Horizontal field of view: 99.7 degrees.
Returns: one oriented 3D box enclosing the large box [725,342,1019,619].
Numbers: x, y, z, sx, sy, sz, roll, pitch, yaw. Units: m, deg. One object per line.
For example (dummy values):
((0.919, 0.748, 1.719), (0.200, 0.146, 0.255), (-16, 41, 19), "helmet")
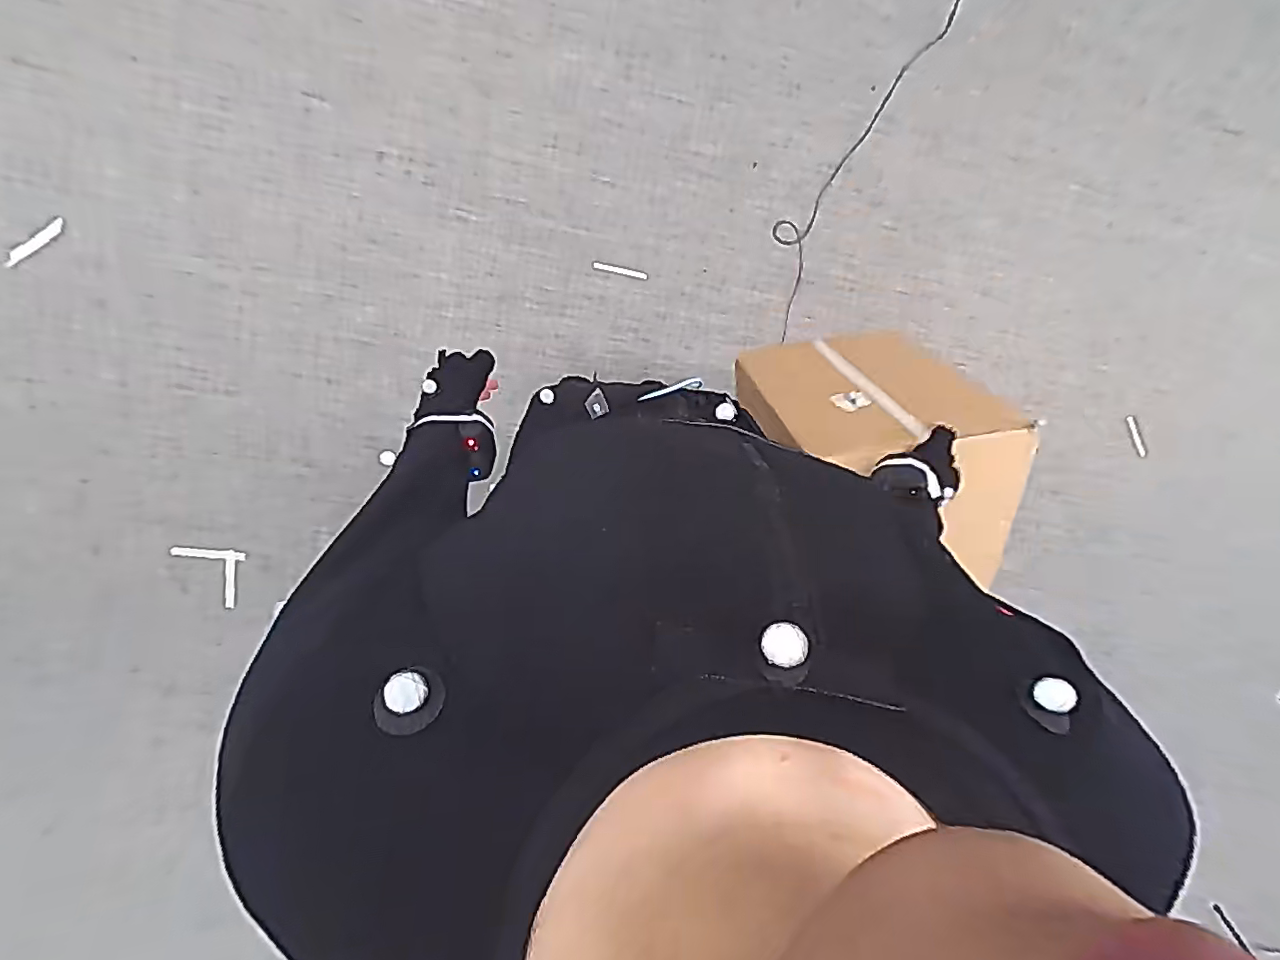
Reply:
((0.353, -0.021, 0.972), (0.320, 0.408, 0.320), (-9, 124, -3), "large box")
